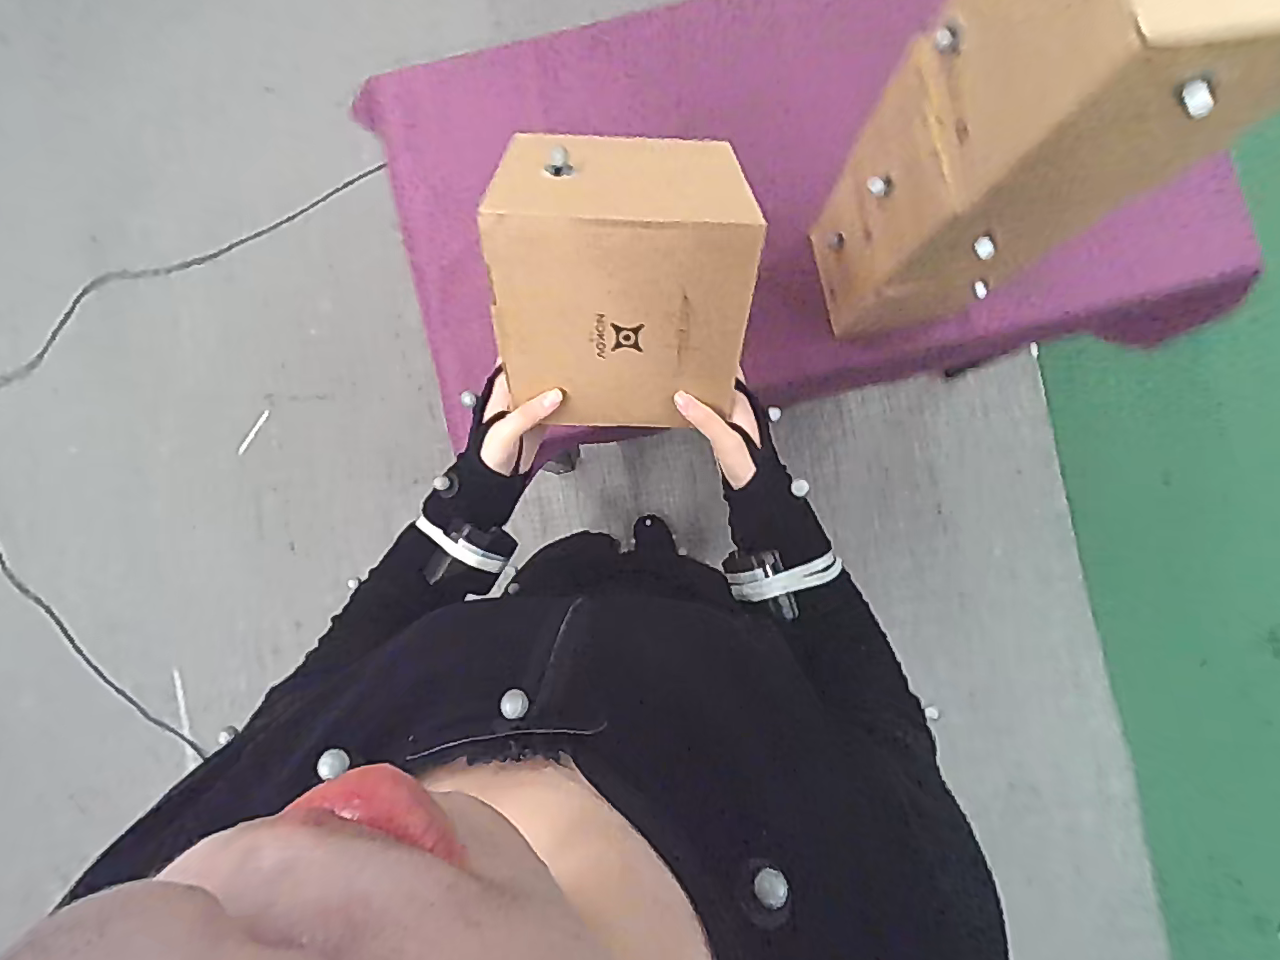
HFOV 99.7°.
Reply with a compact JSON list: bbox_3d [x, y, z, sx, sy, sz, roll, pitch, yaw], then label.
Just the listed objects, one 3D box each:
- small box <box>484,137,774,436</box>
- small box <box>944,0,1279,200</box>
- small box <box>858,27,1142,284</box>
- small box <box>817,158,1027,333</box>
[{"bbox_3d":[-0.011,-0.155,0.431,0.179,0.168,0.176,2,48,-3],"label":"small box"},{"bbox_3d":[0.342,-0.323,0.378,0.179,0.176,0.168,-8,87,-1],"label":"small box"},{"bbox_3d":[0.336,-0.315,0.543,0.179,0.176,0.168,-9,87,1],"label":"small box"},{"bbox_3d":[0.347,-0.308,0.706,0.179,0.176,0.168,-13,87,0],"label":"small box"}]
